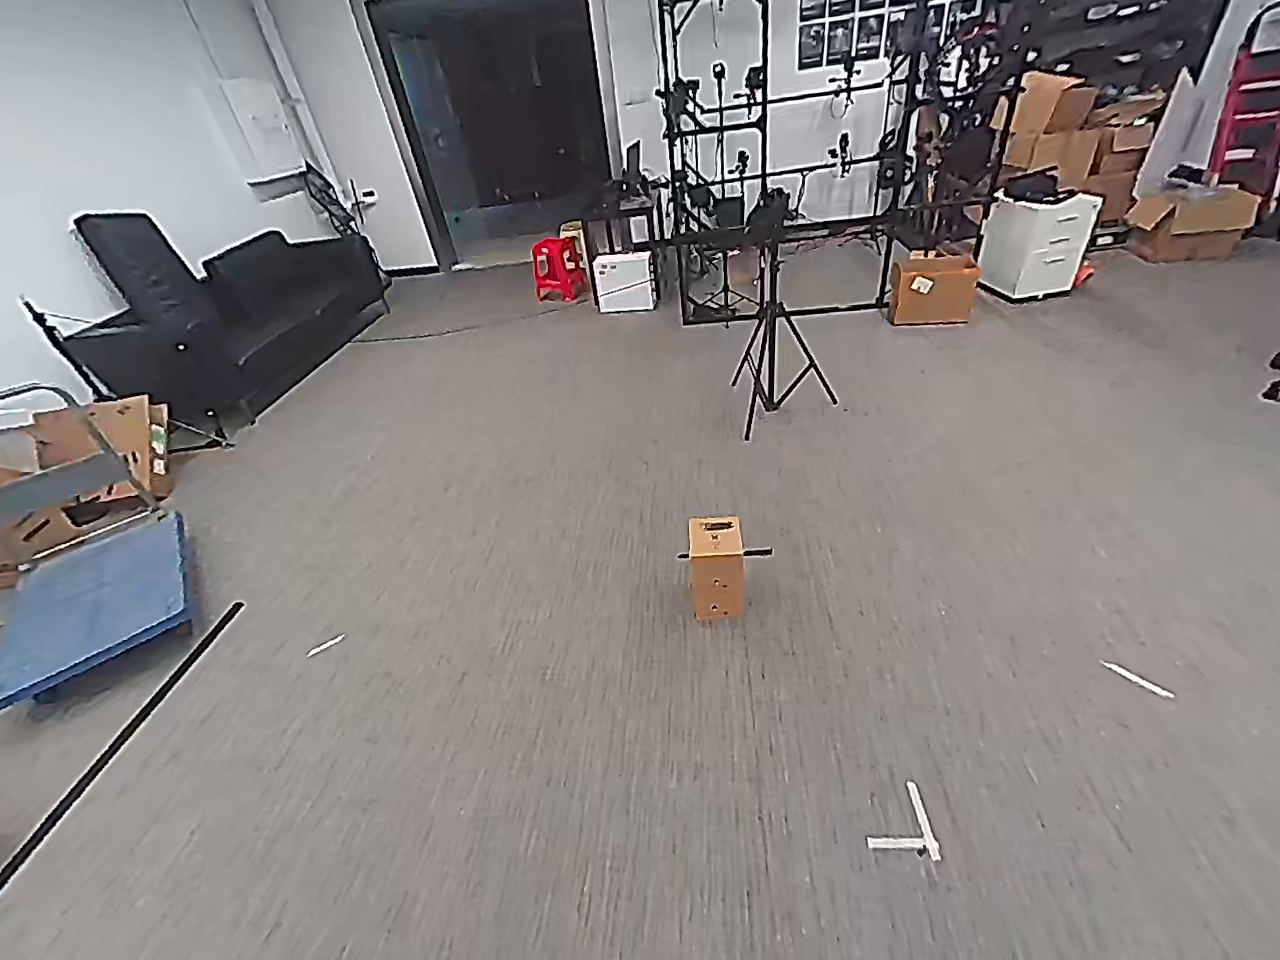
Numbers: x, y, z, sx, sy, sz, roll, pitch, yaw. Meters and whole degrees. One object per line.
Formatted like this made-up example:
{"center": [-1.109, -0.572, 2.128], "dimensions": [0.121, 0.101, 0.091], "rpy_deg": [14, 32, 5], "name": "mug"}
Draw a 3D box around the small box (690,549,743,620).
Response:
{"center": [0.265, 0.365, 1.893], "dimensions": [0.168, 0.176, 0.179], "rpy_deg": [-6, 36, 4], "name": "small box"}
